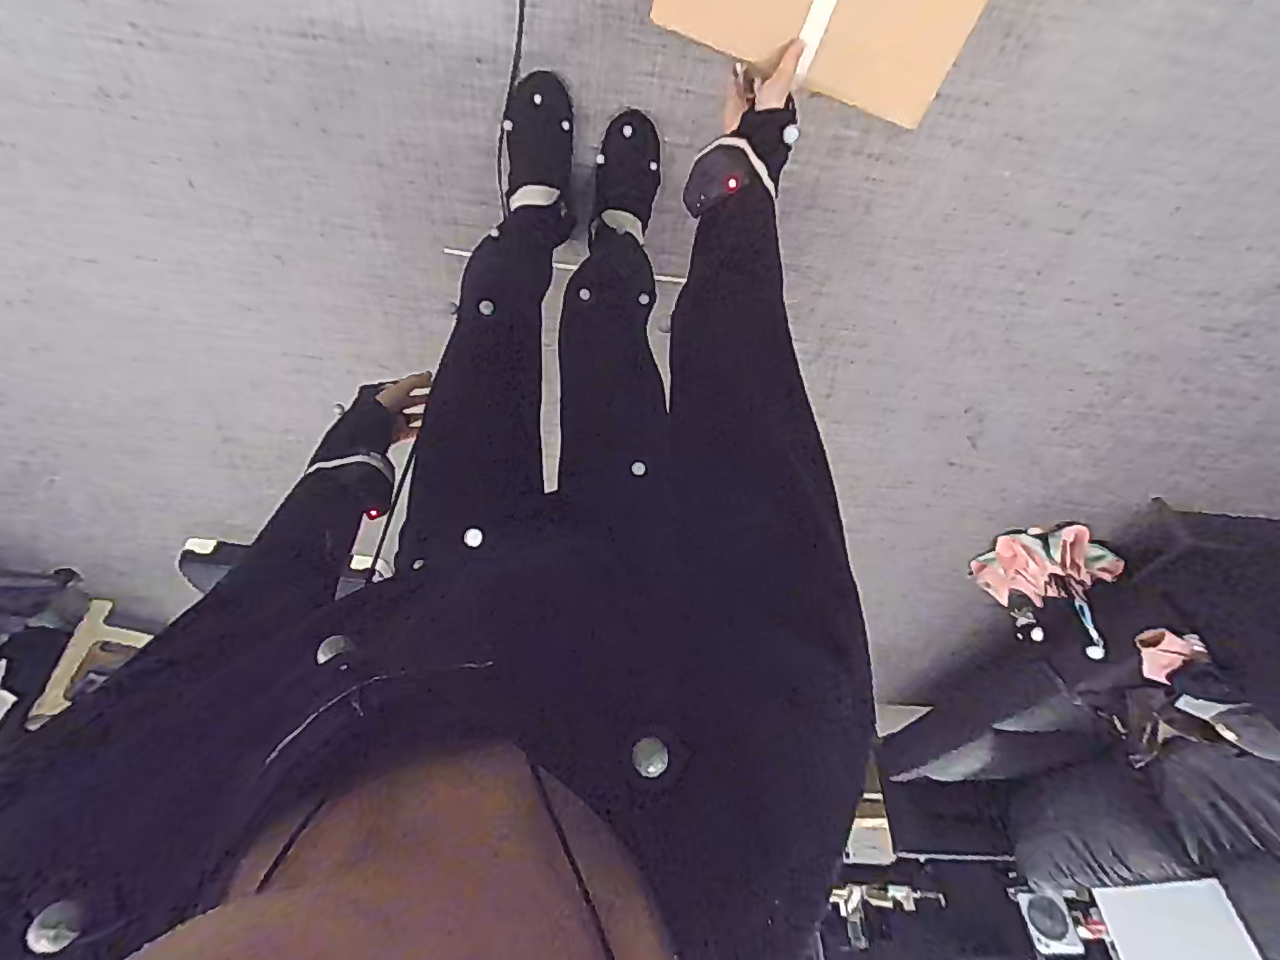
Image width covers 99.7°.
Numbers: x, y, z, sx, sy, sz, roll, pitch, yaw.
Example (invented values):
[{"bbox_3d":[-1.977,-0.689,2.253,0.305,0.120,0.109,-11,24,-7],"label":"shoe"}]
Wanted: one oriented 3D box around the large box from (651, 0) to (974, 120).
[{"bbox_3d":[0.213,-0.672,0.563,0.320,0.320,0.408,13,131,-11],"label":"large box"}]
